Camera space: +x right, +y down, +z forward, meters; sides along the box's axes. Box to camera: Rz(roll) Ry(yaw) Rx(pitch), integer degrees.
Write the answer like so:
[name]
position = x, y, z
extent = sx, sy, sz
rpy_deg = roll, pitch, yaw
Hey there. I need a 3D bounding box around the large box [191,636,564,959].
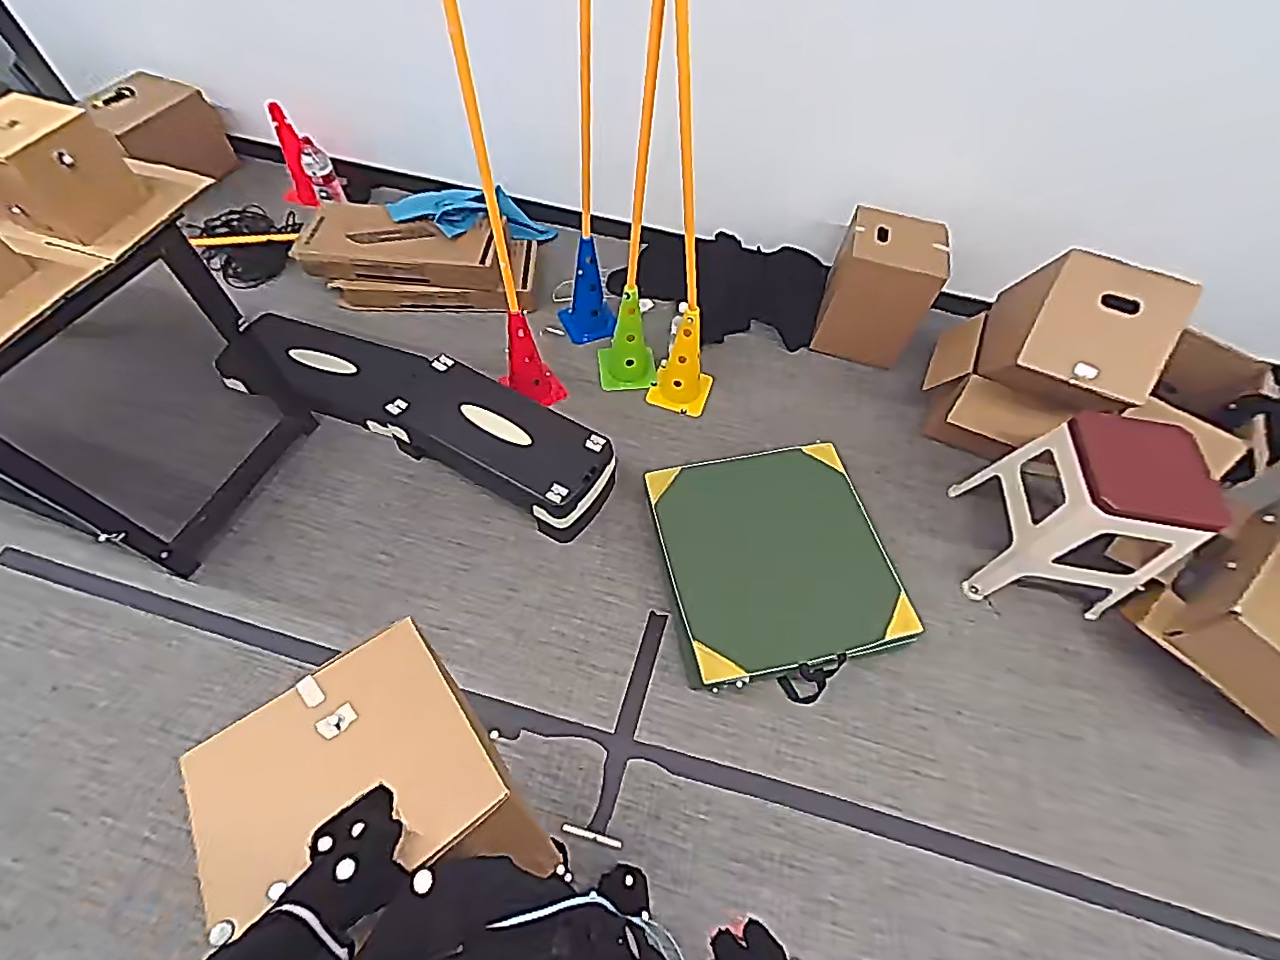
[large box]
position = -0.353, 0.511, 0.804
extent = 0.320, 0.408, 0.320
rpy_deg = -31, 52, -23
